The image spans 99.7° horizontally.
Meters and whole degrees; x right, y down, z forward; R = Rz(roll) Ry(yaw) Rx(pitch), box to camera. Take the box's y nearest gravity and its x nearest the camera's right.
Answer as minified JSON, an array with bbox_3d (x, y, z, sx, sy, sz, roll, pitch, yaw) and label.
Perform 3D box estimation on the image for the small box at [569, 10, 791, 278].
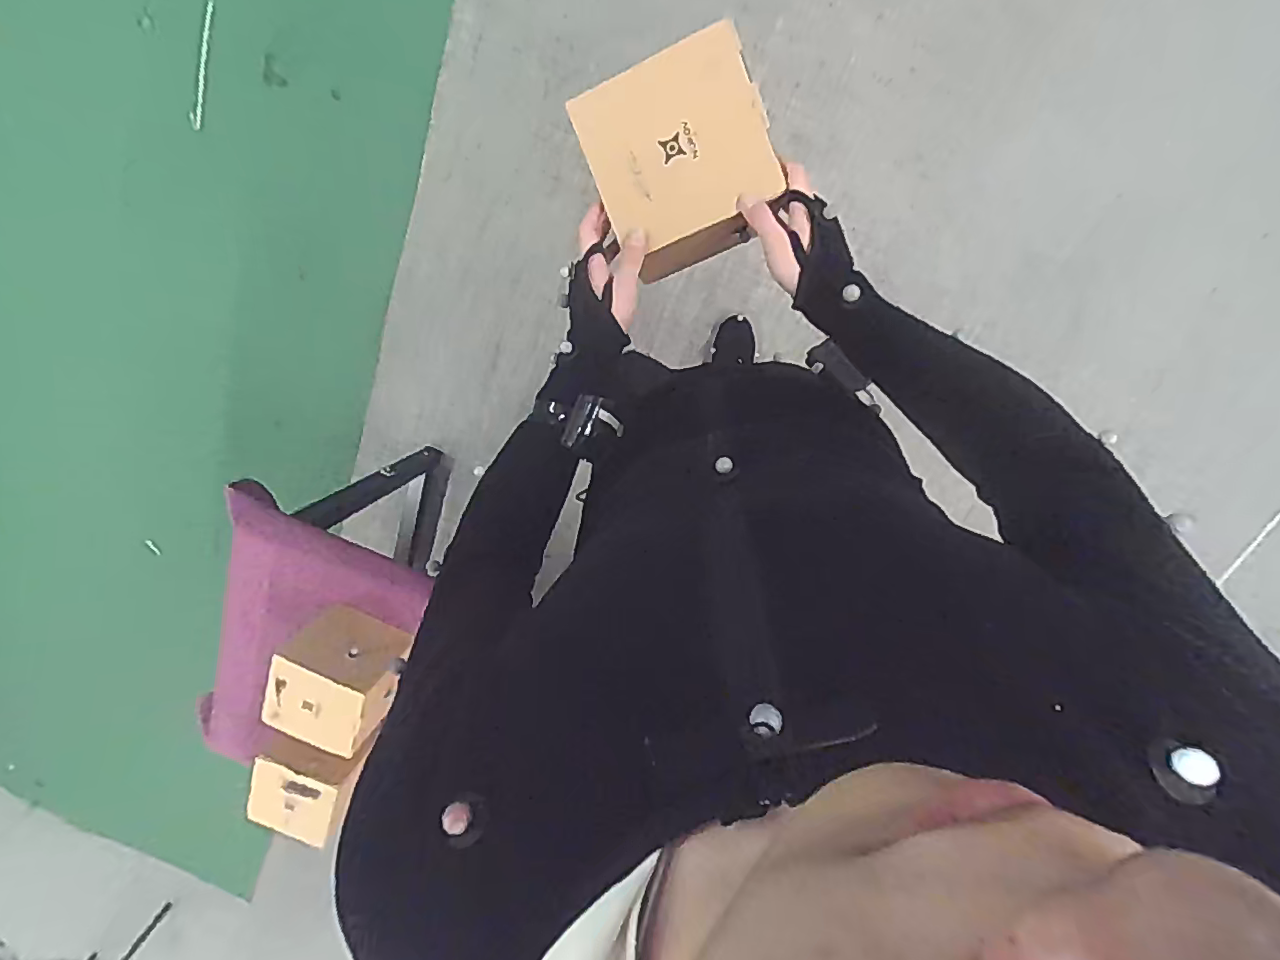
[{"bbox_3d":[0.047,-0.342,0.593,0.179,0.176,0.168,-19,99,11],"label":"small box"}]

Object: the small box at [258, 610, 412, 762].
[{"bbox_3d":[-0.555,0.372,1.003,0.179,0.176,0.168,24,110,0],"label":"small box"}]

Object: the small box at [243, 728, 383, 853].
[{"bbox_3d":[-0.648,0.589,1.088,0.168,0.176,0.179,23,110,1],"label":"small box"}]
